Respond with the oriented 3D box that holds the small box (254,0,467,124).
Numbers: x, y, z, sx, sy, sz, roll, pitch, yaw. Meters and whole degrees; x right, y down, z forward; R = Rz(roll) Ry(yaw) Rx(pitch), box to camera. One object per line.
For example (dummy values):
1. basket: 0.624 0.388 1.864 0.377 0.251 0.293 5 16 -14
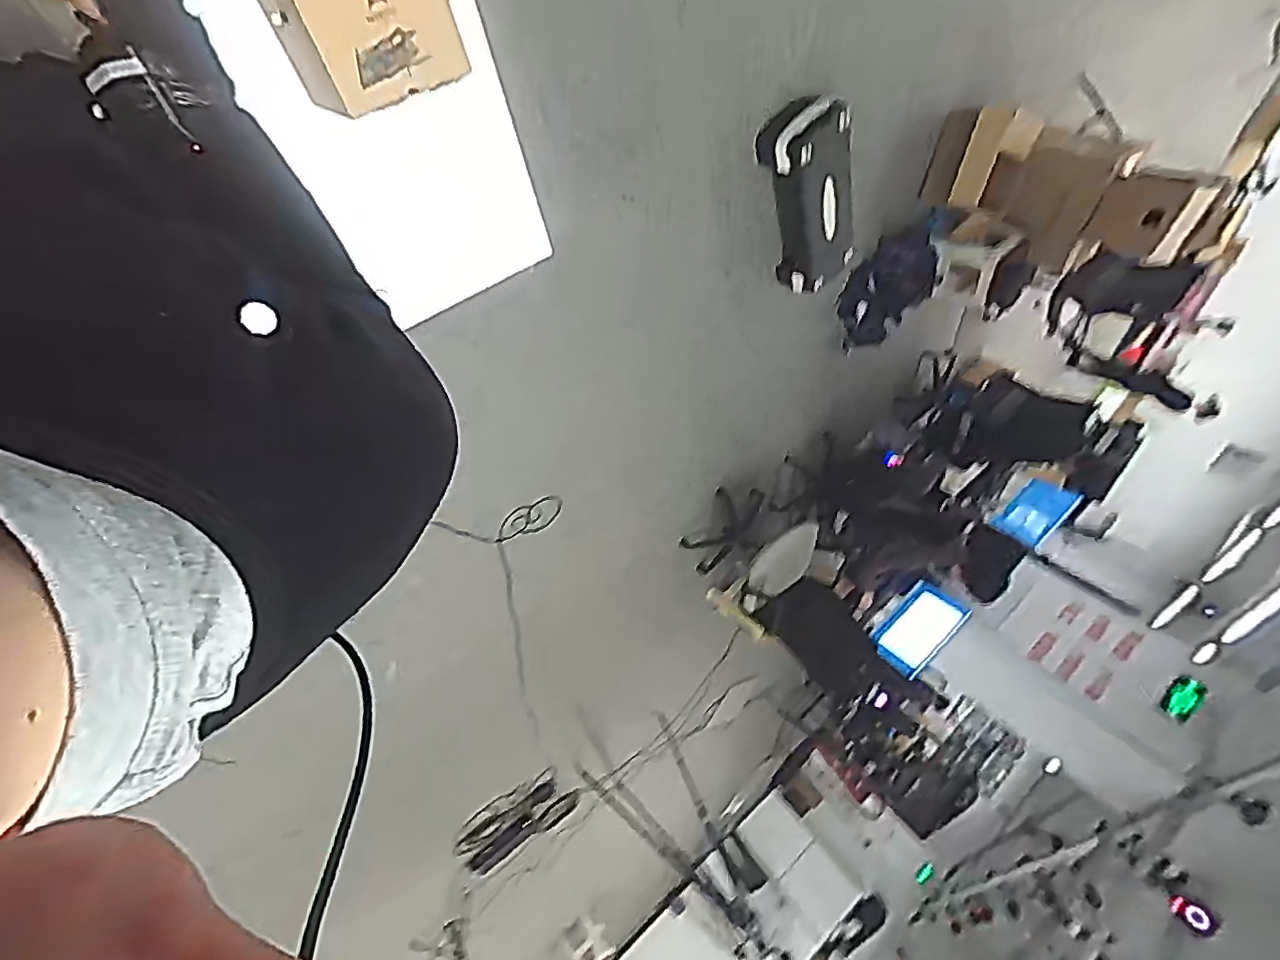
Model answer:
1. small box: -0.339 -0.553 0.635 0.168 0.176 0.179 -36 141 -19
